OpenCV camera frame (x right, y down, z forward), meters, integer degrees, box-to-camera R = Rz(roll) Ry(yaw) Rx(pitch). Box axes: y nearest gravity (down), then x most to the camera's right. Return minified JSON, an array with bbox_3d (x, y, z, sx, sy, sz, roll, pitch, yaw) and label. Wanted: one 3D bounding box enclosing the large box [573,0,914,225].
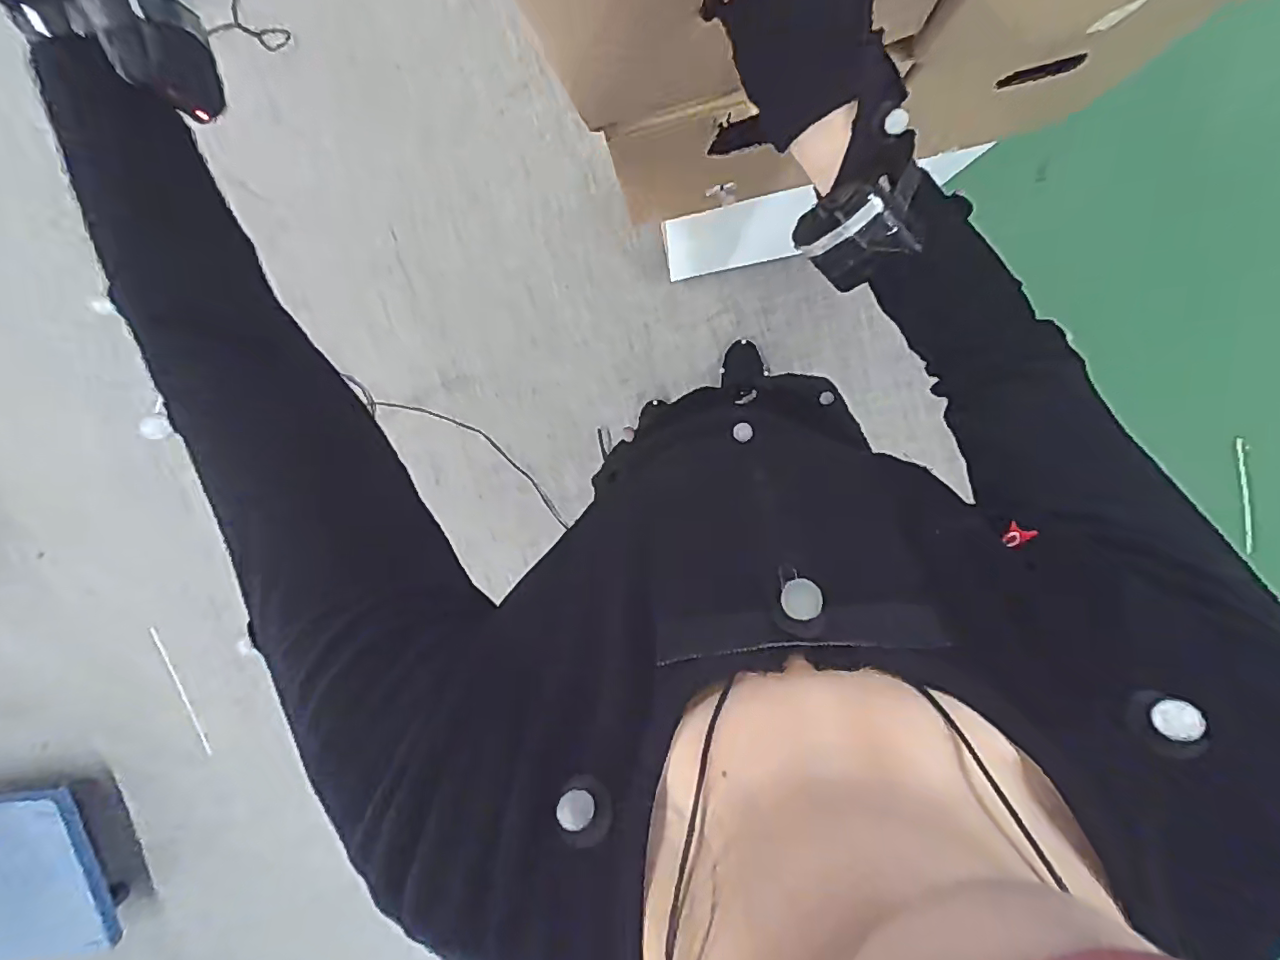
[{"bbox_3d":[0.080,-0.596,0.655,0.320,0.320,0.408,-12,97,5],"label":"large box"}]
